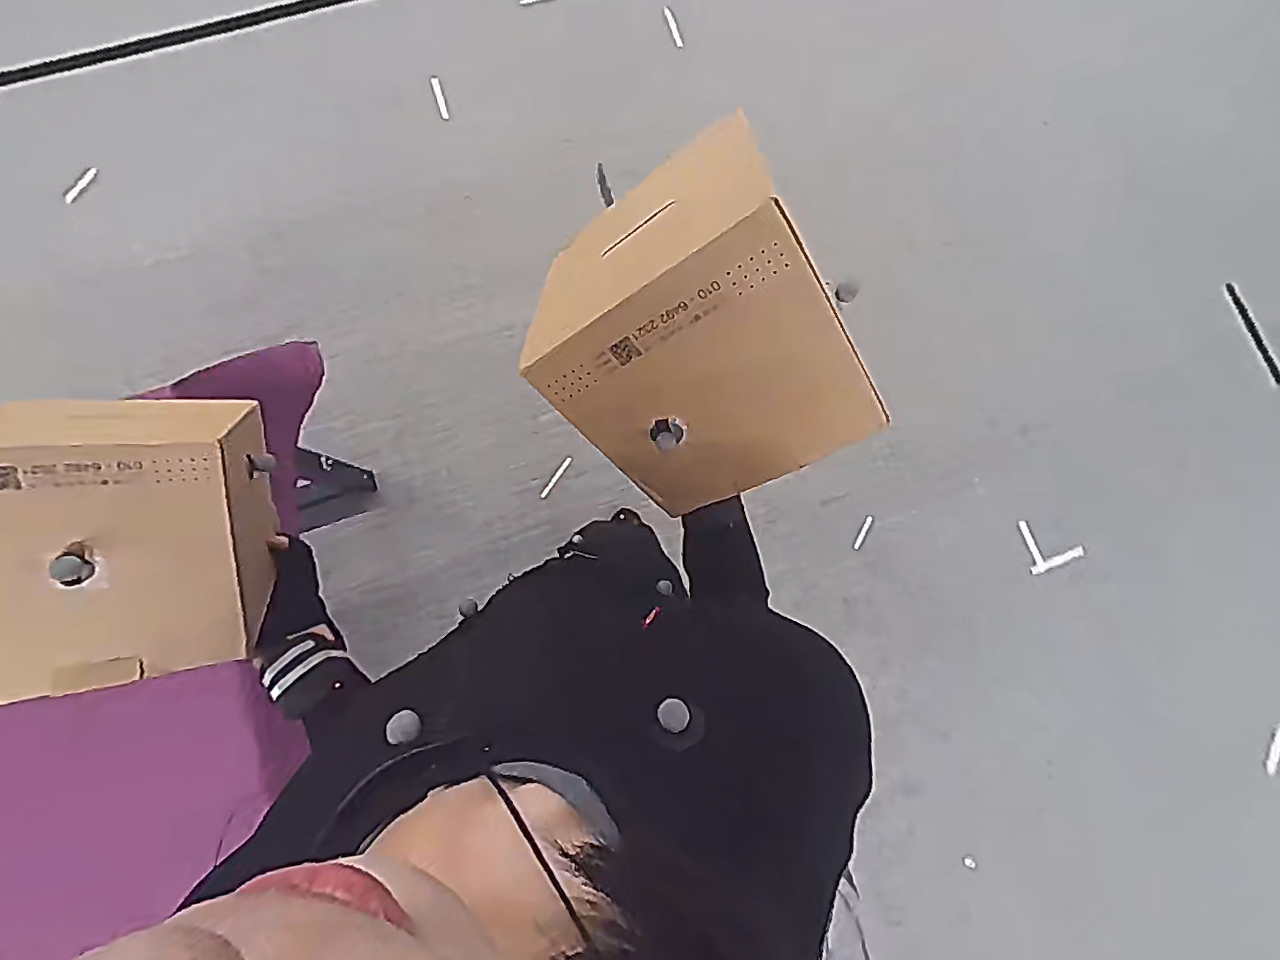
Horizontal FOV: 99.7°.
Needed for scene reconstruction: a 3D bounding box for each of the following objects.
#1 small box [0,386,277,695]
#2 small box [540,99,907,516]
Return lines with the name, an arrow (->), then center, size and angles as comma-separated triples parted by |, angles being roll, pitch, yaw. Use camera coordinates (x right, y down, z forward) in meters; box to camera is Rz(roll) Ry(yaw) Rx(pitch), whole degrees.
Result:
small box -> -0.382, 0.026, 0.394 | 0.168, 0.179, 0.176 | -3, 107, -26
small box -> 0.052, -0.111, 0.369 | 0.168, 0.176, 0.179 | -24, 40, 26
